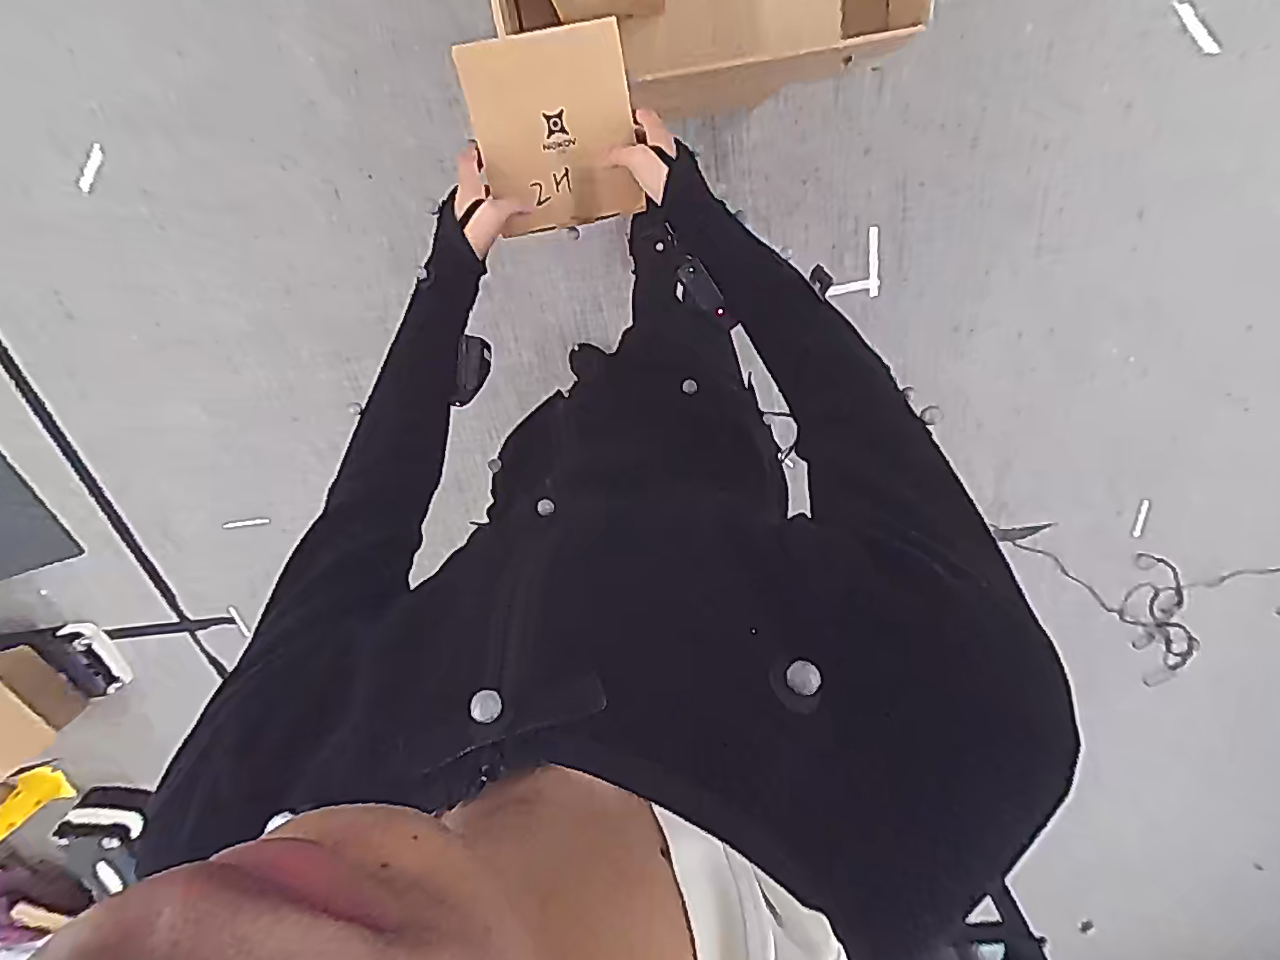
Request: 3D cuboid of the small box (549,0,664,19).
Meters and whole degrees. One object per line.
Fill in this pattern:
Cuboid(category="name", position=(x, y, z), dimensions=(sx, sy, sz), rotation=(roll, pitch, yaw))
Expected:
Cuboid(category="small box", position=(-0.055, -0.777, 0.763), dimensions=(0.168, 0.176, 0.179), rotation=(-8, 115, 5))

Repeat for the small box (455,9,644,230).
Cuboid(category="small box", position=(-0.099, -0.399, 0.630), dimensions=(0.168, 0.176, 0.179), rotation=(-12, 116, -3))
